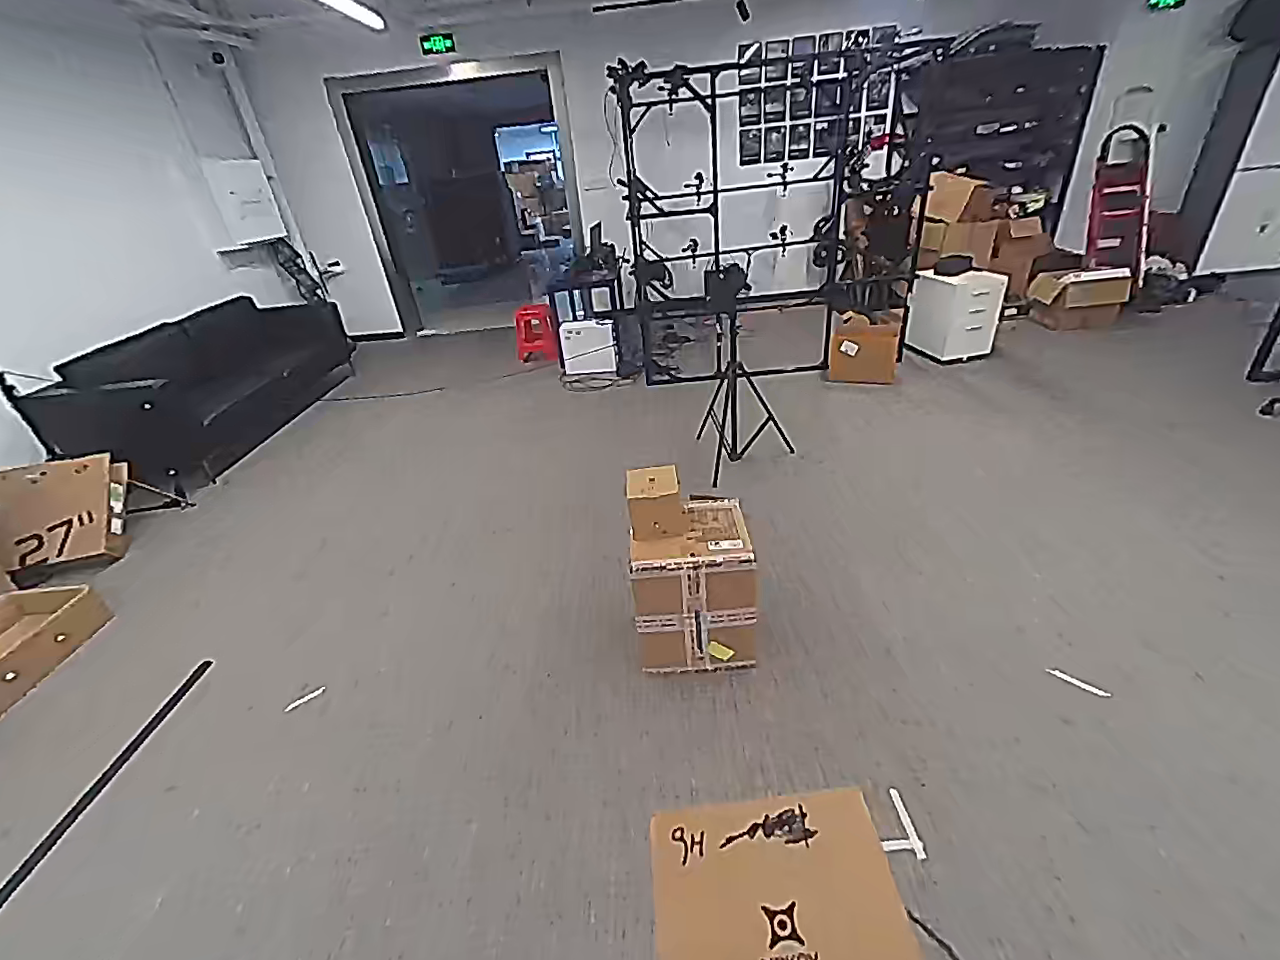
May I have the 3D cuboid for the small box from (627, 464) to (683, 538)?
[{"bbox_3d":[0.049,0.069,1.798,0.168,0.176,0.179,-8,33,3],"label":"small box"}]
